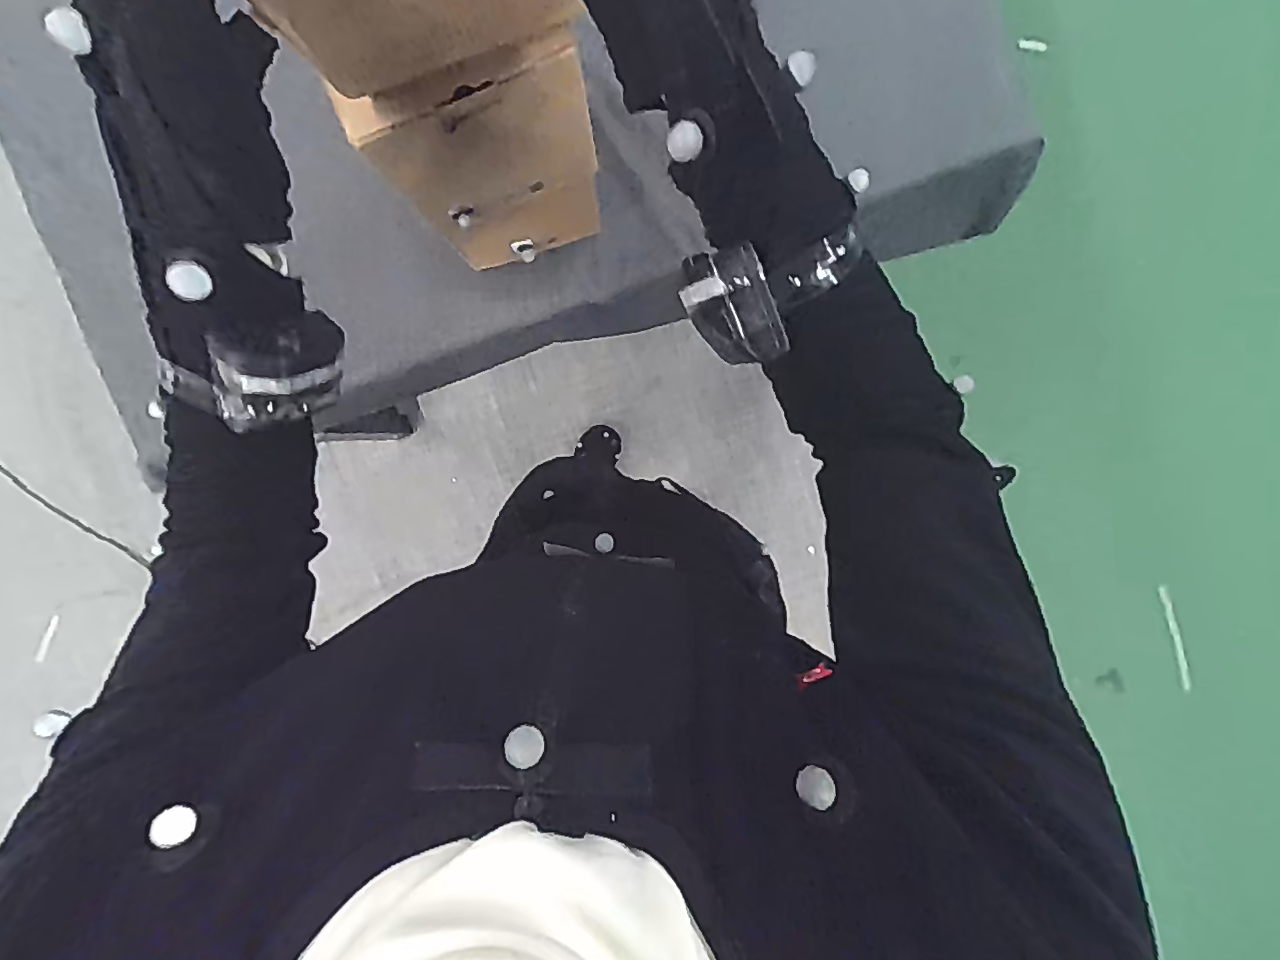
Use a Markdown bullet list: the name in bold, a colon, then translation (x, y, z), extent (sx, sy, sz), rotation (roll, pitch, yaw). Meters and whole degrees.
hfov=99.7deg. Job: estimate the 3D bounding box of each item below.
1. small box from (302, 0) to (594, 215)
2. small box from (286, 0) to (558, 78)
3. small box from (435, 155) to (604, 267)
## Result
- **small box**: translation (-0.146, -0.342, 0.433), extent (0.168, 0.176, 0.179), rotation (-22, 92, 2)
- **small box**: translation (-0.128, -0.337, 0.246), extent (0.179, 0.176, 0.168), rotation (-21, 98, 4)
- **small box**: translation (-0.146, -0.366, 0.596), extent (0.168, 0.176, 0.179), rotation (-19, 95, 2)
